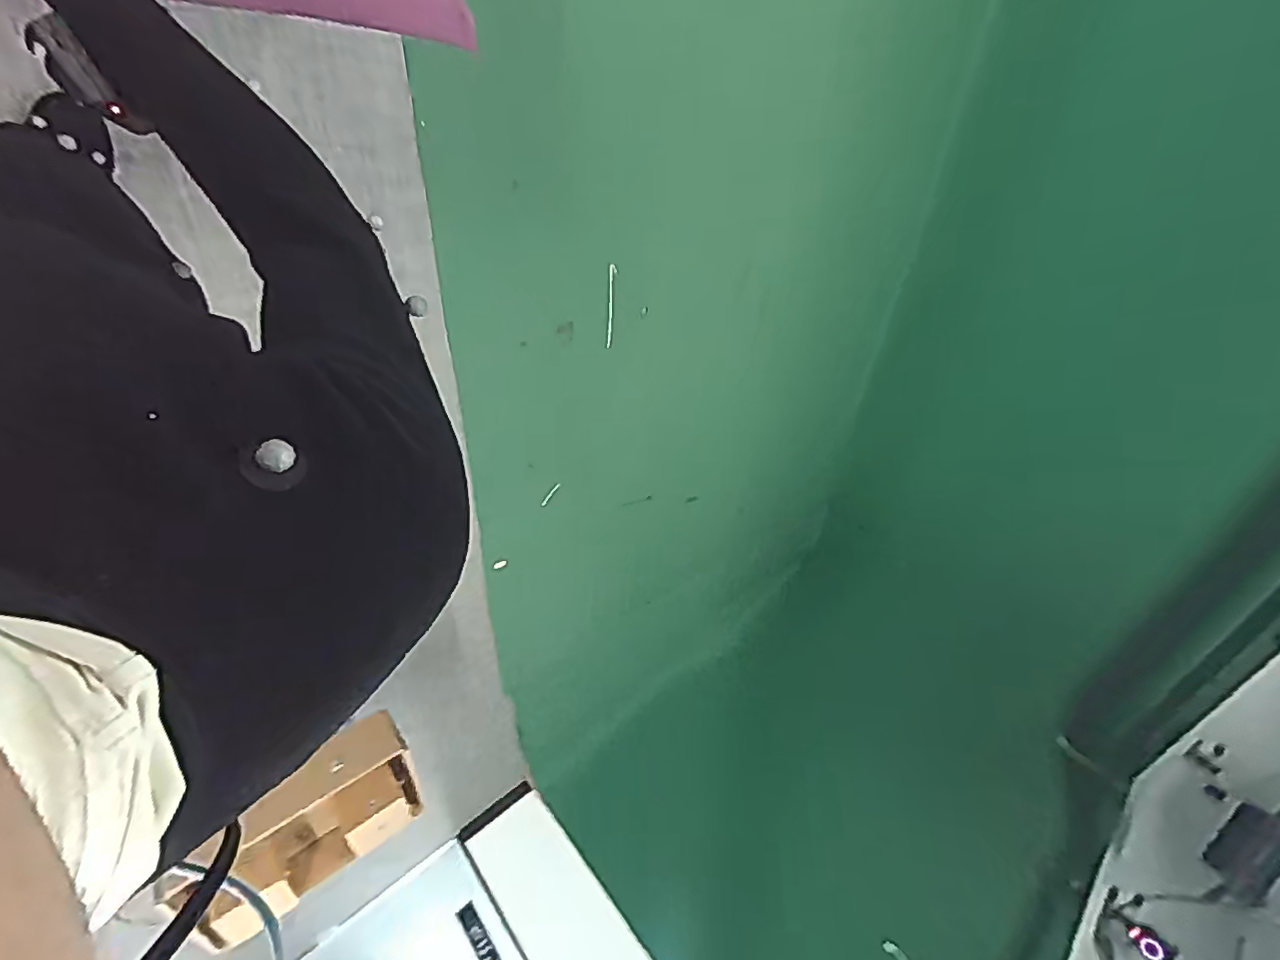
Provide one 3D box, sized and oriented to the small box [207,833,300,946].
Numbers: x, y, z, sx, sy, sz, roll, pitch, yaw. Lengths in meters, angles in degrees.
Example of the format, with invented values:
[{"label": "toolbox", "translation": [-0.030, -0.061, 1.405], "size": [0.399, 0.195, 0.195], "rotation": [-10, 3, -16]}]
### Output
[{"label": "small box", "translation": [-1.110, 1.168, 1.555], "size": [0.168, 0.176, 0.179], "rotation": [-22, 131, -35]}]
